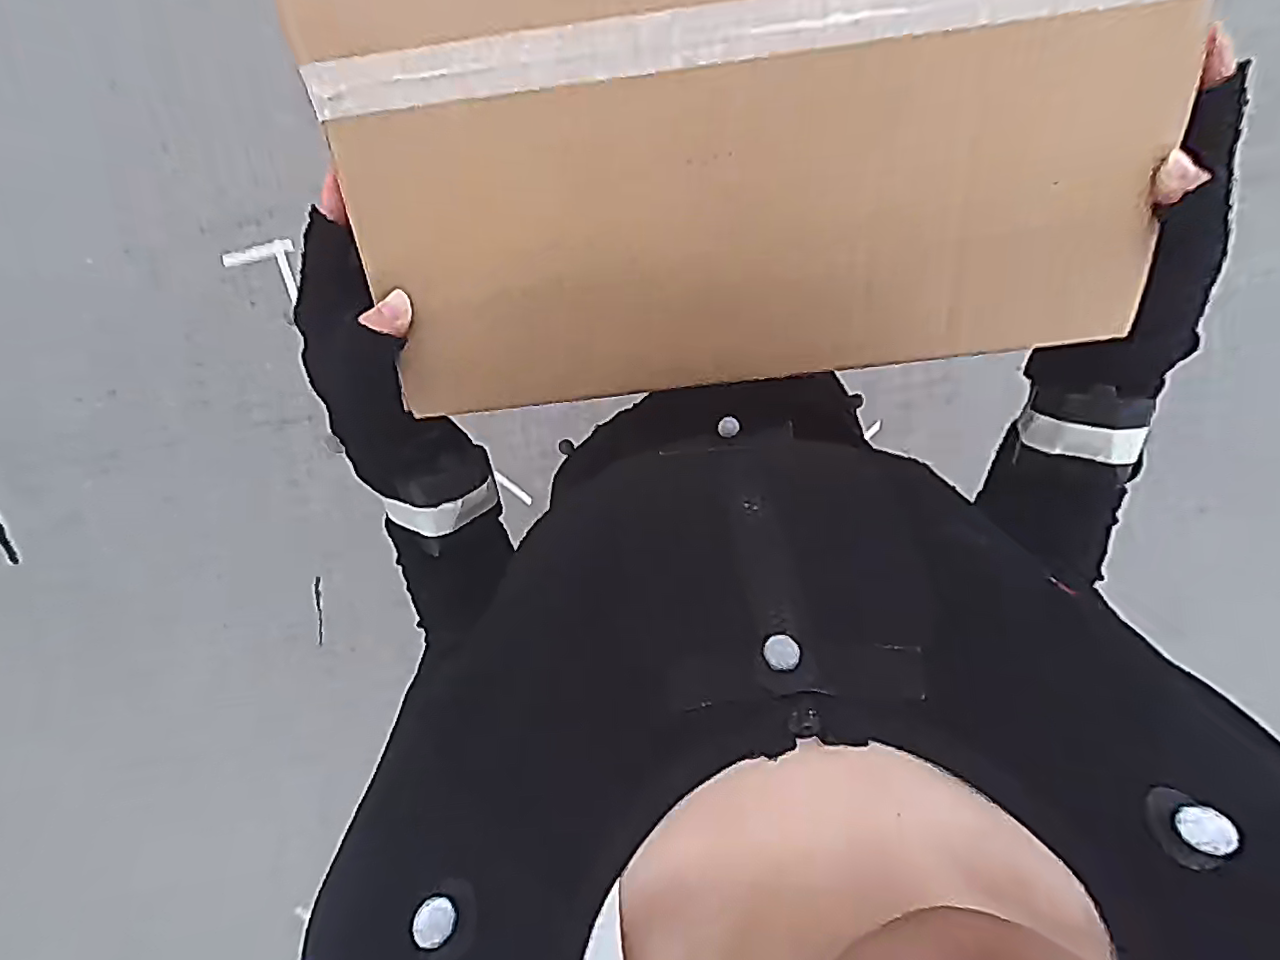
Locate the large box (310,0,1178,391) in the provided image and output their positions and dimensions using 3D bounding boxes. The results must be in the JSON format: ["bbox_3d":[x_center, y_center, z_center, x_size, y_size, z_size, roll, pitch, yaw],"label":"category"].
[{"bbox_3d":[0.045,-0.274,0.389,0.408,0.320,0.320,-6,115,2],"label":"large box"}]
